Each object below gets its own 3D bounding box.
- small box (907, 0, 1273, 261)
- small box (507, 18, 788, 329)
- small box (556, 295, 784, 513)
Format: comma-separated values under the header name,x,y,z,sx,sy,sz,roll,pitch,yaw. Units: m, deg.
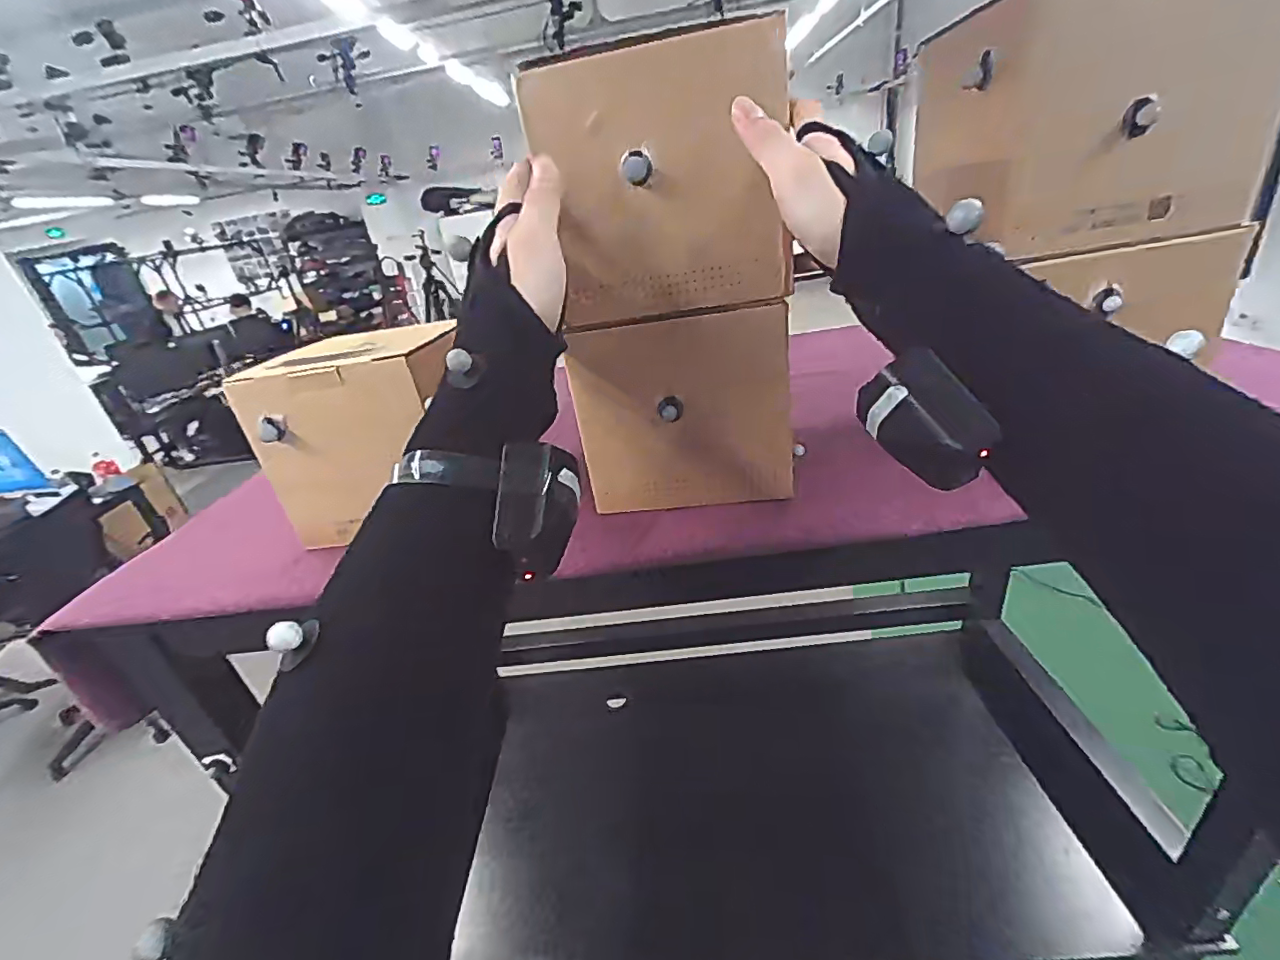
name,x,y,z,sx,sy,sz,roll,pitch,yaw
small box,0.331,-0.282,0.434,0.168,0.176,0.179,-7,27,8
small box,0.017,-0.232,0.447,0.179,0.176,0.168,-8,27,9
small box,0.040,-0.084,0.518,0.179,0.176,0.168,-7,26,10
